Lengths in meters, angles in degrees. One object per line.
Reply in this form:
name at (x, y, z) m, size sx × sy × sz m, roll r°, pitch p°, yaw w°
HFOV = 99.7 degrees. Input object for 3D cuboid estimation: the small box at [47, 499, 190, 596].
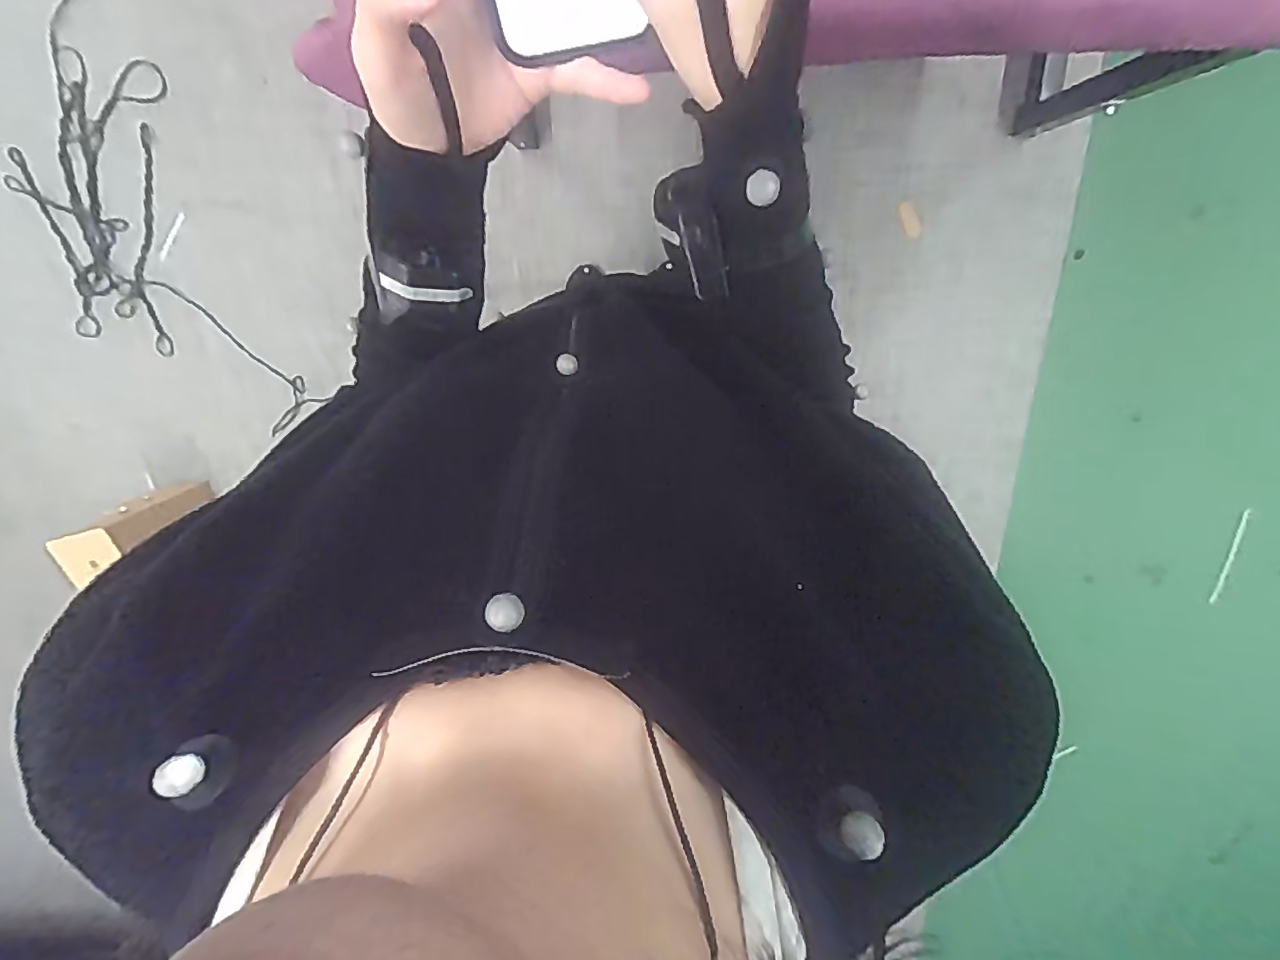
small box at (-1.340, 0.172, 1.406) m, size 0.168 × 0.176 × 0.179 m, roll -13°, pitch 110°, yaw 6°

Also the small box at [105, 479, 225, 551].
small box at (-1.348, 0.108, 1.556) m, size 0.179 × 0.176 × 0.168 m, roll -8°, pitch 111°, yaw 6°
